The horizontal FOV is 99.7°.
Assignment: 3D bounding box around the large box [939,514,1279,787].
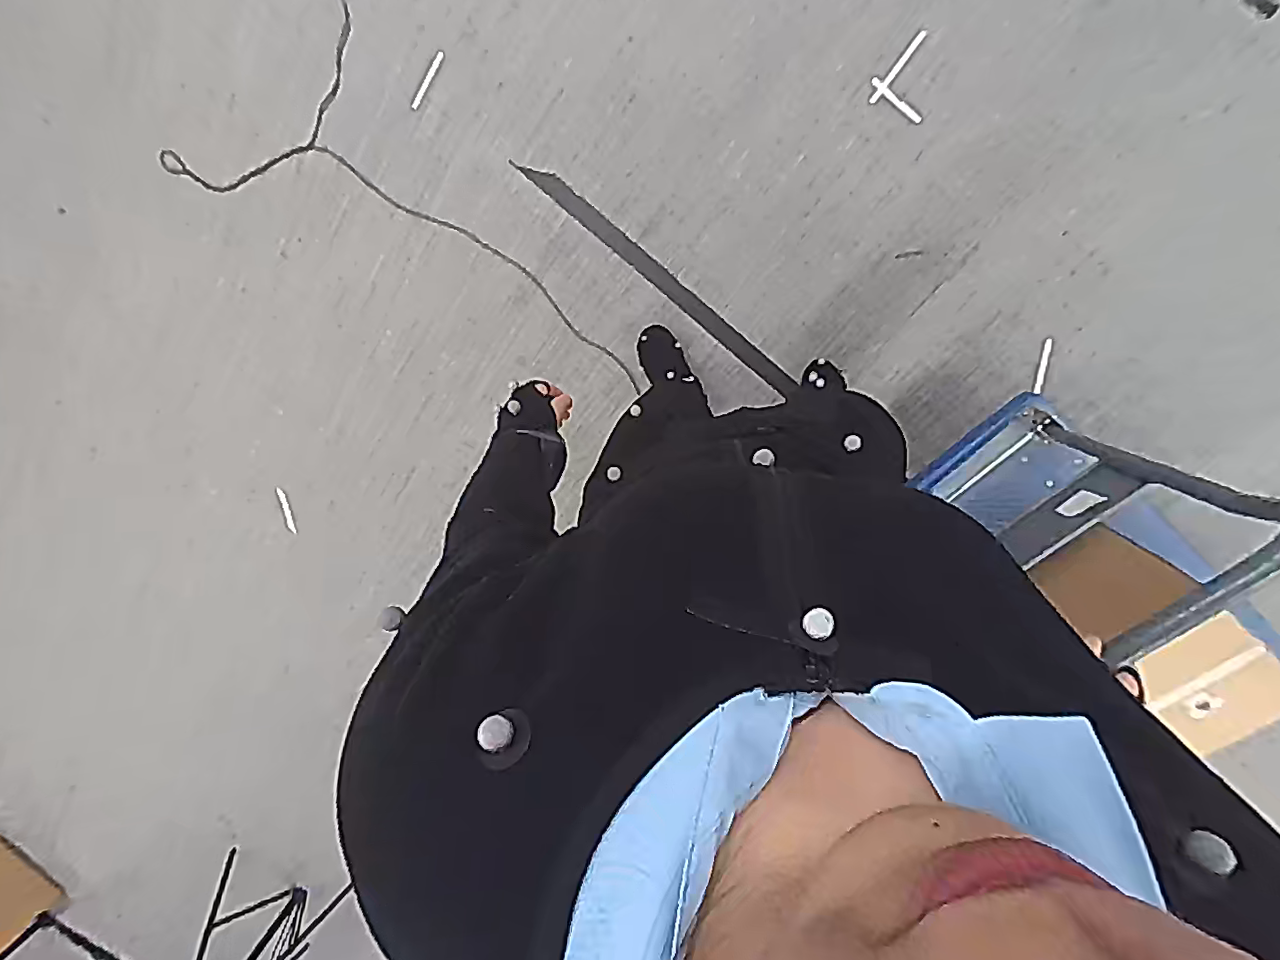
[{"bbox_3d":[0.959,0.348,1.164,0.320,0.320,0.408,43,108,-6],"label":"large box"}]
